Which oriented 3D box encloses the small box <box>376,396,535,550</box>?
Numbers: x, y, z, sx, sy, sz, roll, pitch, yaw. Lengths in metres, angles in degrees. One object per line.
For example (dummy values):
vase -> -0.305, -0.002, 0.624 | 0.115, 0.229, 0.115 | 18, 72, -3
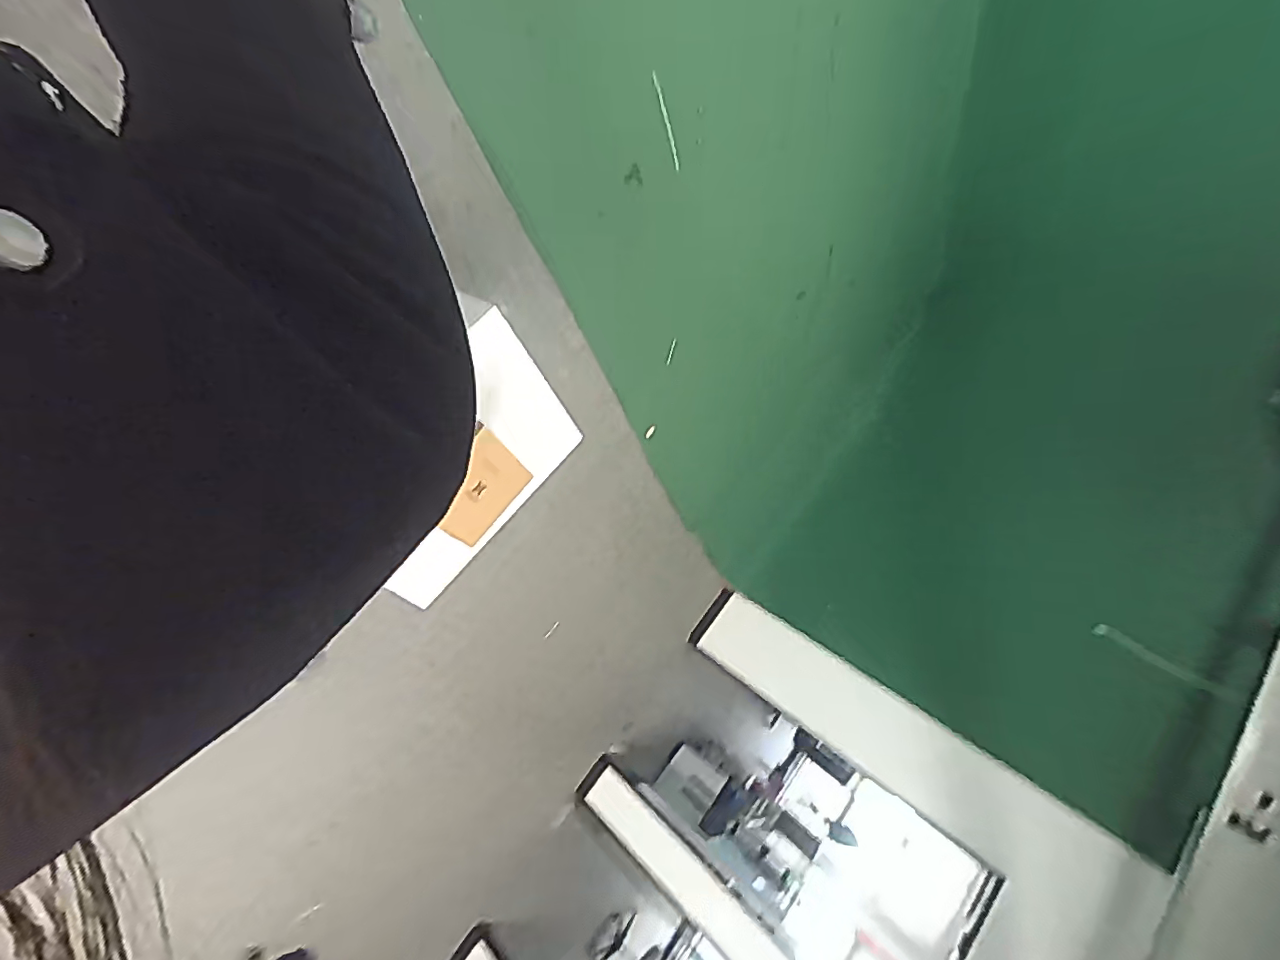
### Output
small box -> -0.325, -0.014, 0.939 | 0.179, 0.176, 0.168 | -52, 146, -12
